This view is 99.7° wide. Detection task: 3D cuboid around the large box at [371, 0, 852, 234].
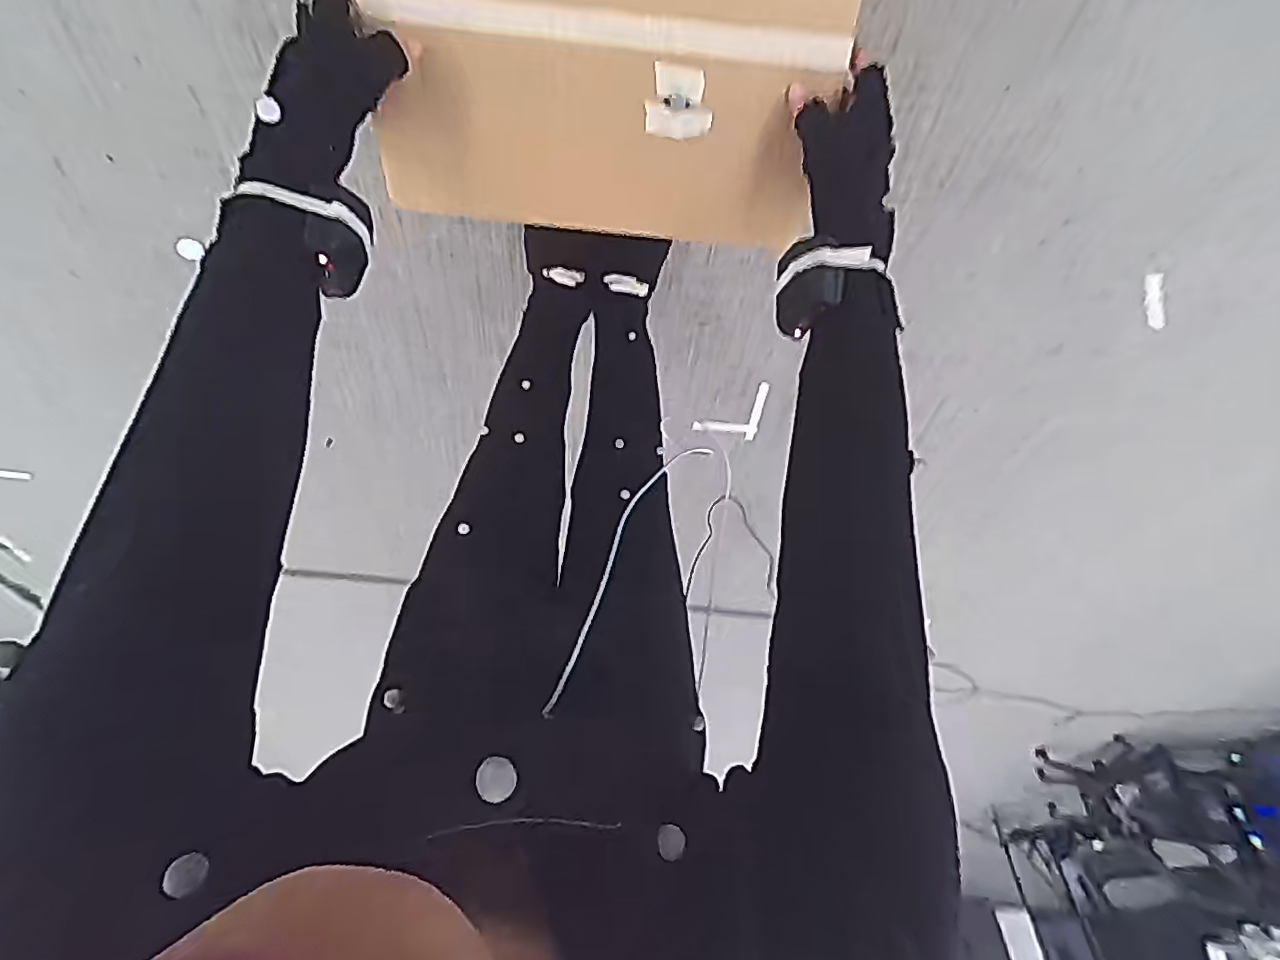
[{"bbox_3d":[-0.025,-0.478,0.566,0.408,0.320,0.320,5,131,-3],"label":"large box"}]
